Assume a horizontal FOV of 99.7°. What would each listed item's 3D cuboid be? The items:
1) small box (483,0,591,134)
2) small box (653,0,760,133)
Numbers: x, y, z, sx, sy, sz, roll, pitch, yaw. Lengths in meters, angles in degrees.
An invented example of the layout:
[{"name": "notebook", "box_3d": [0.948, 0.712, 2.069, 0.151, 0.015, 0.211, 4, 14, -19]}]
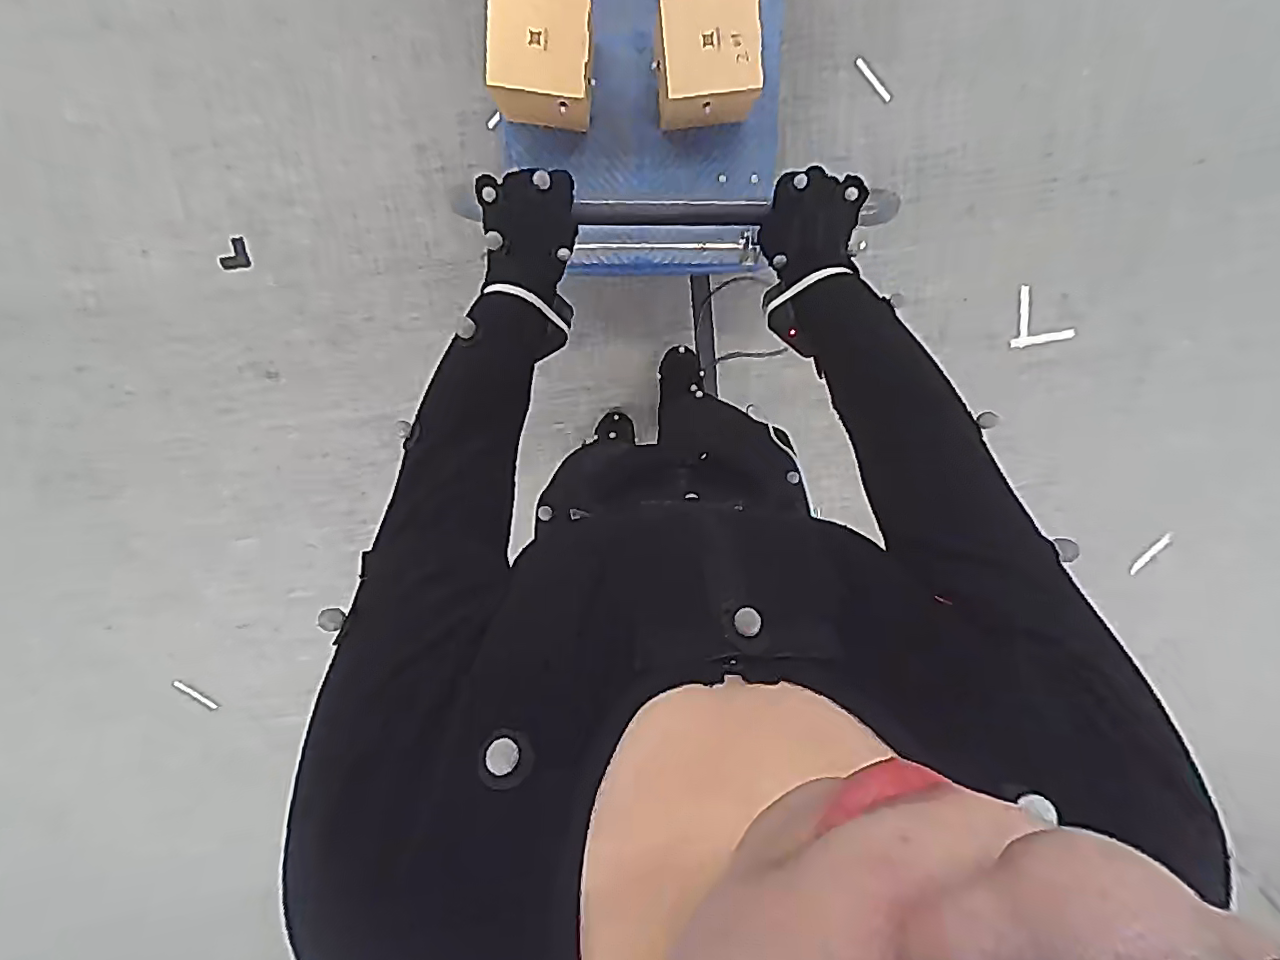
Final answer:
[{"name": "small box", "box_3d": [-0.186, -0.773, 1.010, 0.179, 0.176, 0.168, 4, 105, -6]}, {"name": "small box", "box_3d": [0.118, -0.782, 1.024, 0.179, 0.176, 0.168, -7, 106, -1]}]
